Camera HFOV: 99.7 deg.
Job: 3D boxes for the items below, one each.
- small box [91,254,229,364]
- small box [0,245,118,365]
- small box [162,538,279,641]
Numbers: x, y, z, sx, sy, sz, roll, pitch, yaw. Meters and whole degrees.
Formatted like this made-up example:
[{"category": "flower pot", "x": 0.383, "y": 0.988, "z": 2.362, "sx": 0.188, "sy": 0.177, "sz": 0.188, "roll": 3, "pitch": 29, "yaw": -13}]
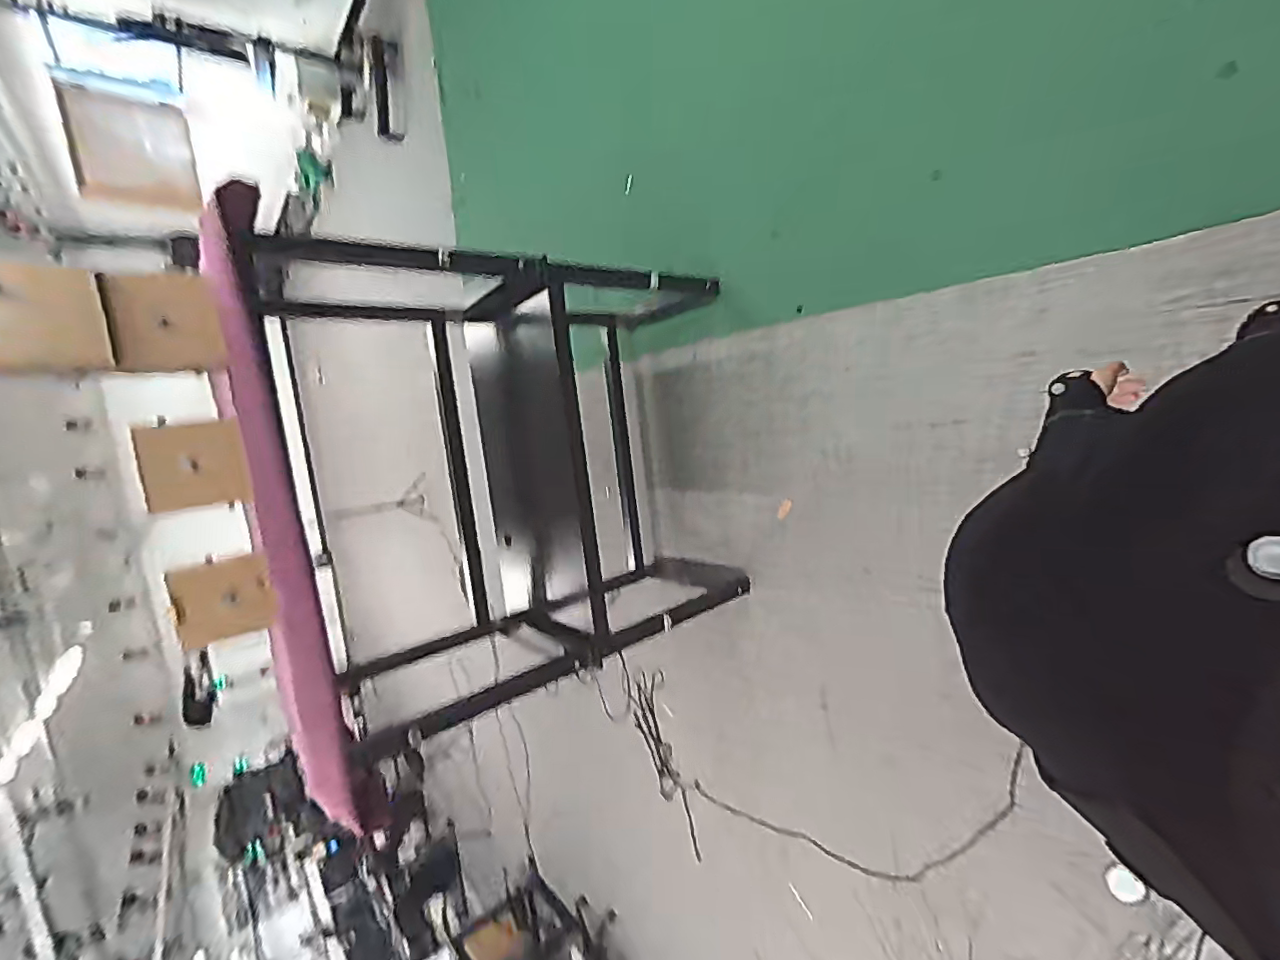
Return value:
[{"category": "small box", "x": -0.940, "y": -0.329, "z": 1.069, "sx": 0.168, "sy": 0.176, "sz": 0.179, "roll": 3, "pitch": 103, "yaw": 51}, {"category": "small box", "x": -1.052, "y": -0.302, "z": 0.950, "sx": 0.168, "sy": 0.176, "sz": 0.179, "roll": 2, "pitch": 102, "yaw": 51}, {"category": "small box", "x": -0.892, "y": 0.225, "z": 1.160, "sx": 0.179, "sy": 0.176, "sz": 0.168, "roll": -5, "pitch": 96, "yaw": 52}]
